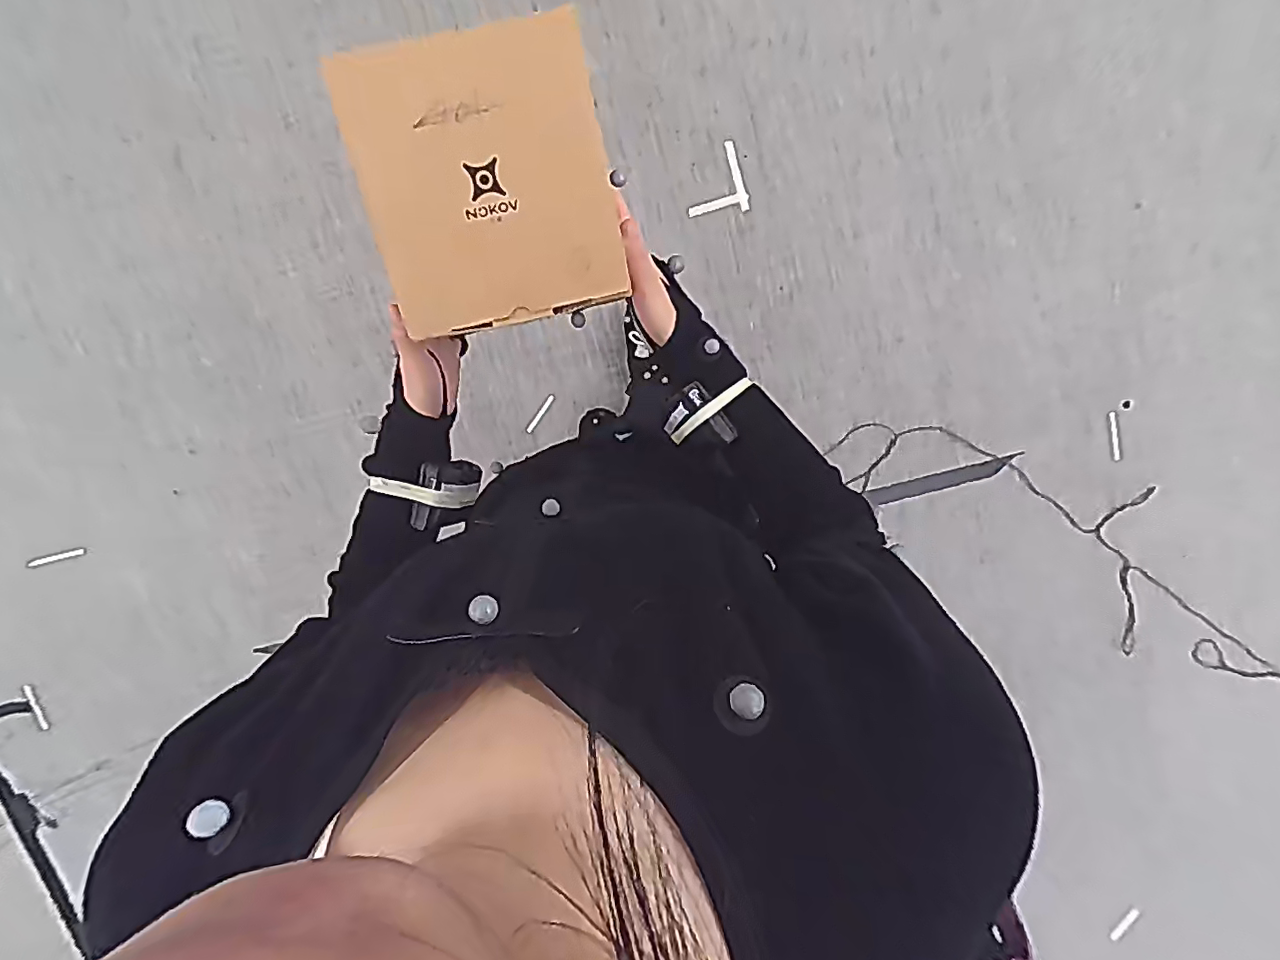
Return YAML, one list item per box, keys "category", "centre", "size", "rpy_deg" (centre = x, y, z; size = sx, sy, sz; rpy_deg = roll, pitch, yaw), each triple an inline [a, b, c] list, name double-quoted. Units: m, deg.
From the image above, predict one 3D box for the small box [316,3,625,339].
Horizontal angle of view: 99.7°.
- category: "small box"
  centre: [-0.111, -0.222, 0.437]
  size: [0.168, 0.176, 0.179]
  rpy_deg: [-14, 107, -1]
